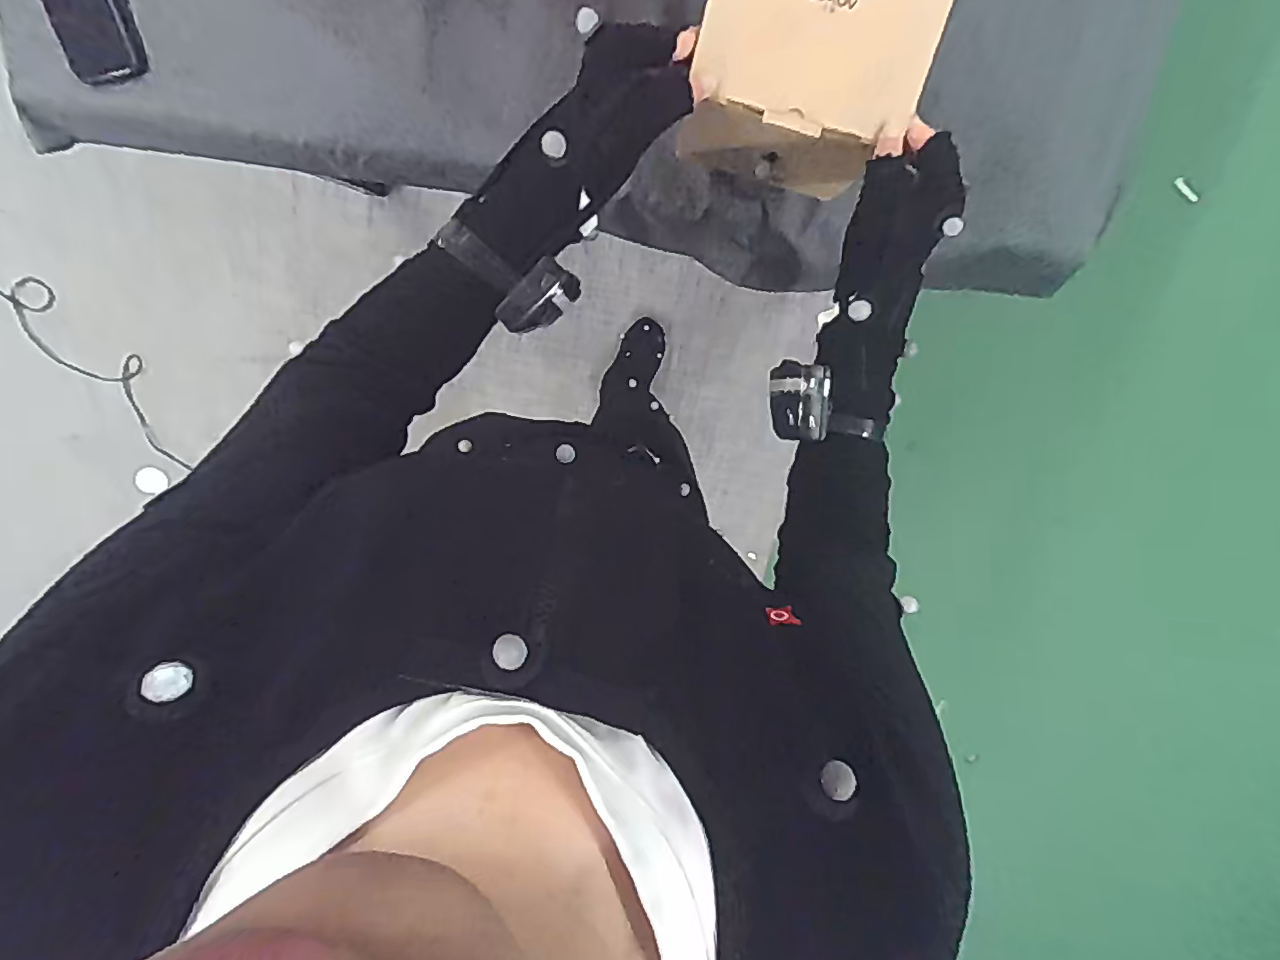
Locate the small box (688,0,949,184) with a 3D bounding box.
[{"bbox_3d":[0.140,-0.375,0.456,0.168,0.176,0.179,14,107,-3],"label":"small box"}]
